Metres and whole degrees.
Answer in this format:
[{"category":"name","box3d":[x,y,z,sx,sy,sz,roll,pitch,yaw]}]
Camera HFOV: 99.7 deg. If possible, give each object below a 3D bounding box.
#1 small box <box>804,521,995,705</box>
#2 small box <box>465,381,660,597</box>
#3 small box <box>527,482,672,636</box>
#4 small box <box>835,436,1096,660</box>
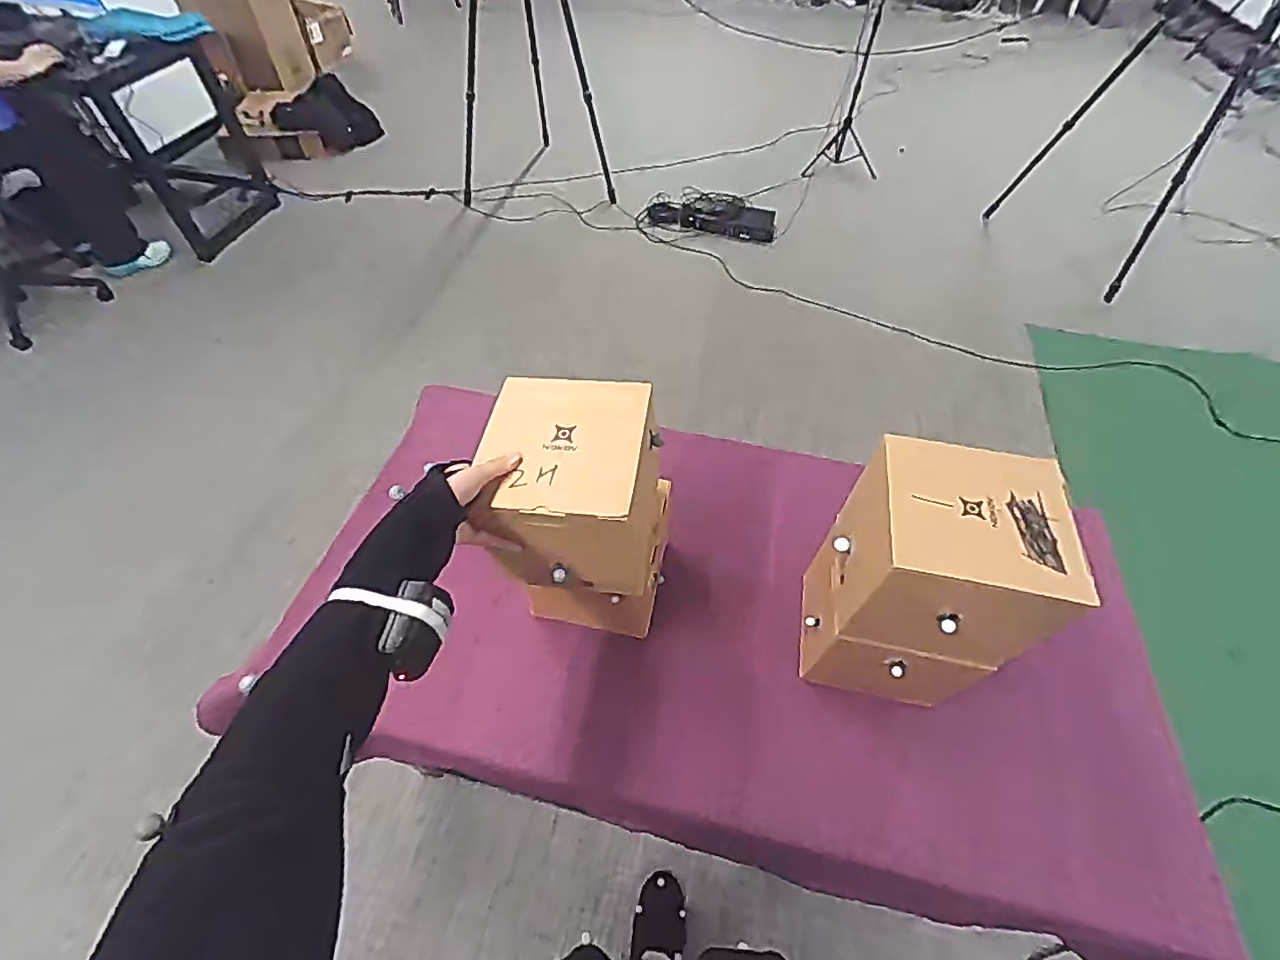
[{"category":"small box","box3d":[0.324,0.179,0.714,0.179,0.176,0.168,11,54,7]},{"category":"small box","box3d":[-0.070,0.011,0.613,0.168,0.176,0.179,4,55,9]},{"category":"small box","box3d":[-0.058,0.104,0.767,0.179,0.176,0.168,10,53,5]},{"category":"small box","box3d":[0.325,0.079,0.584,0.179,0.176,0.168,10,54,8]}]
